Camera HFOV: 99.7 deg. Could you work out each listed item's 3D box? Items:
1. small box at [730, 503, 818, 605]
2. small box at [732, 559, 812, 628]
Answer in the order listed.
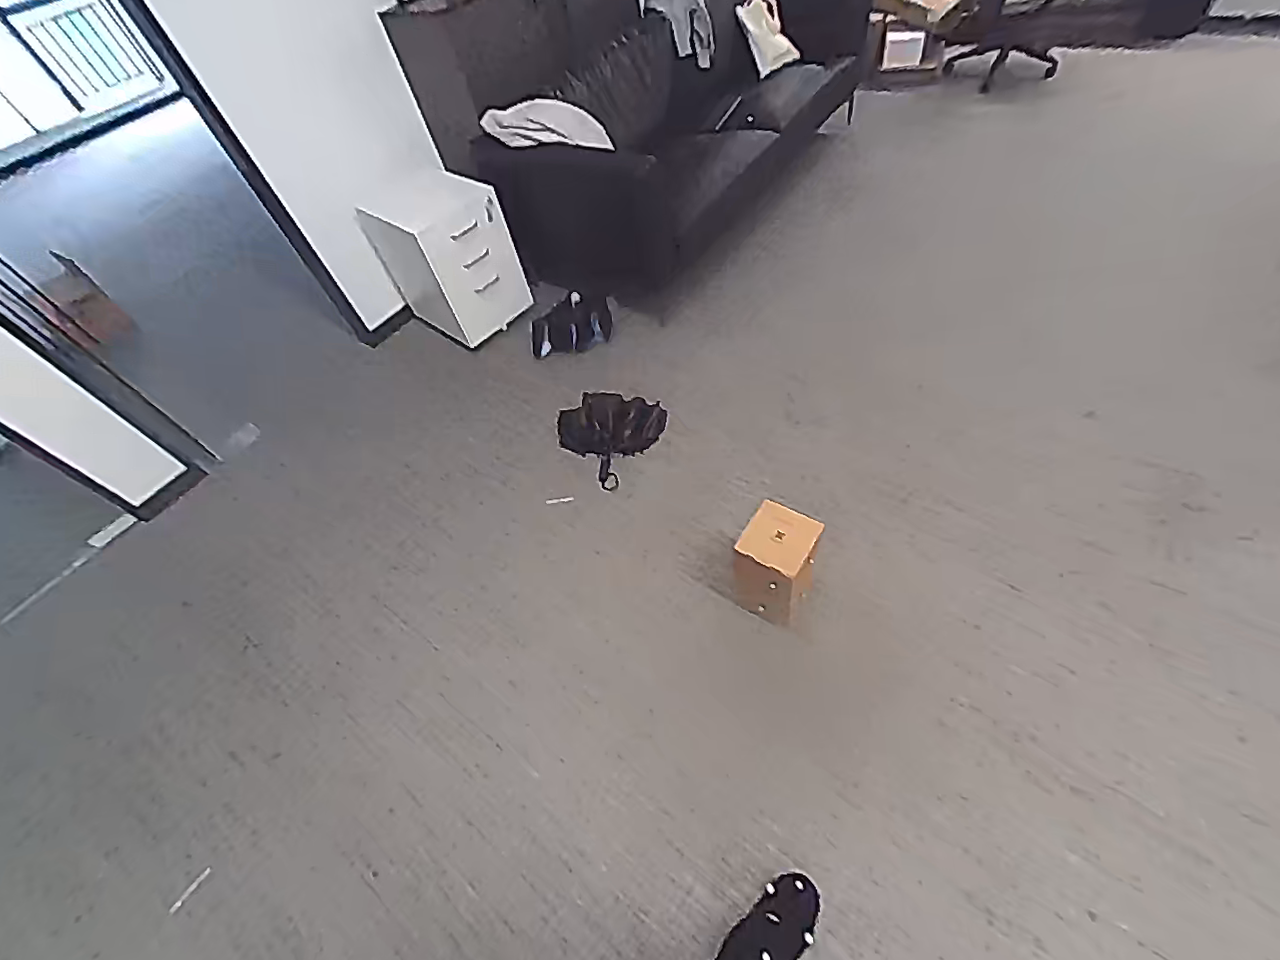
[{"bbox_3d":[0.351,0.200,1.424,0.168,0.176,0.179,25,60,26],"label":"small box"},{"bbox_3d":[0.381,0.296,1.552,0.168,0.176,0.179,23,61,26],"label":"small box"}]
